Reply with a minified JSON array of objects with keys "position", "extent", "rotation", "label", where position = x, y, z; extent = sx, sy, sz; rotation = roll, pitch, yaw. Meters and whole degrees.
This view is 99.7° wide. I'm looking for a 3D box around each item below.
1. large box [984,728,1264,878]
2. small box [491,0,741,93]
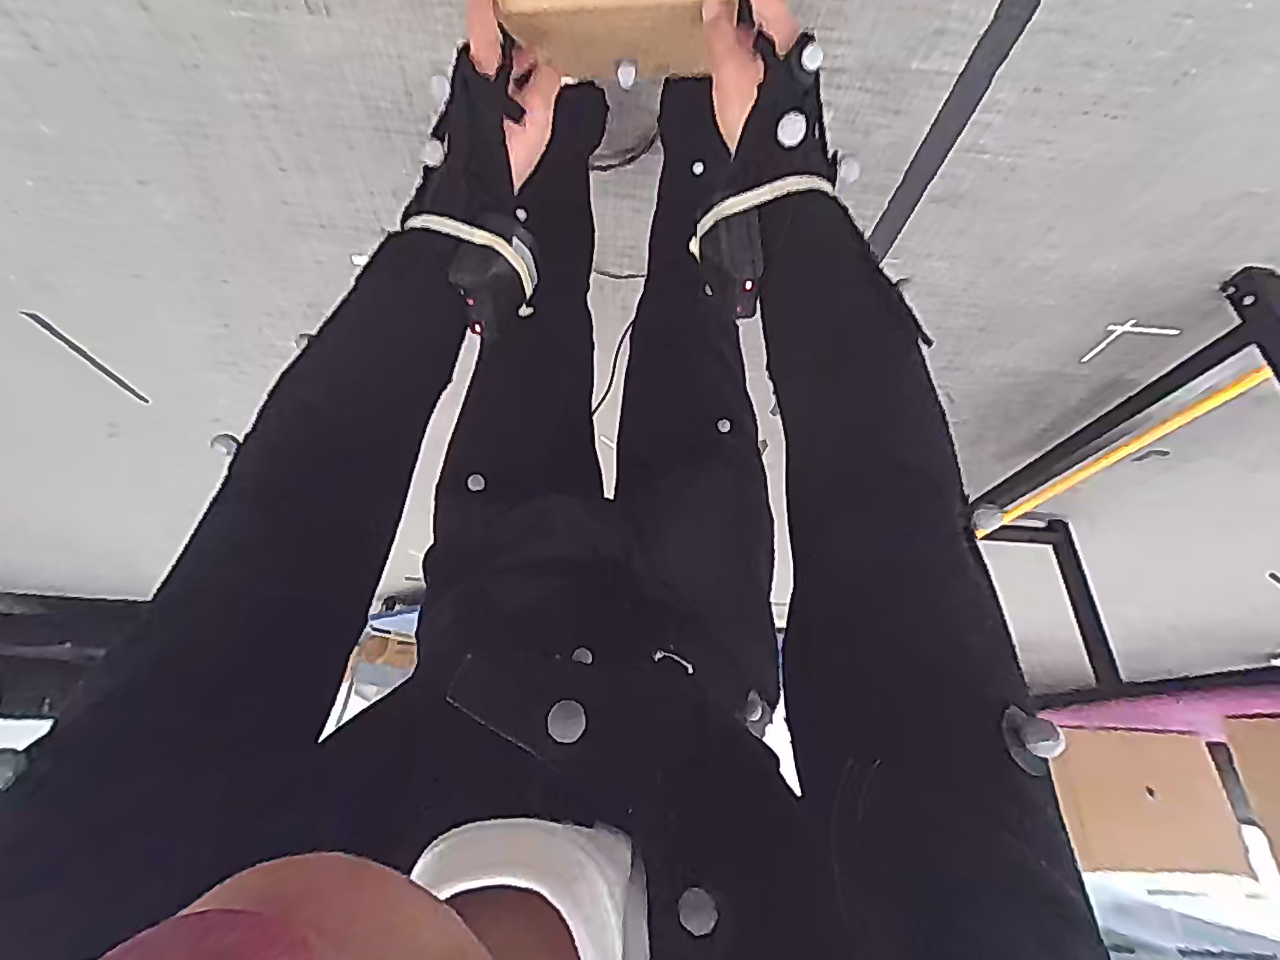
[{"position":[1.232,0.840,1.435],"extent":[0.408,0.320,0.320],"rotation":[3,153,-2],"label":"large box"},{"position":[-0.007,-0.410,0.394],"extent":[0.168,0.176,0.179],"rotation":[3,114,7],"label":"small box"}]
